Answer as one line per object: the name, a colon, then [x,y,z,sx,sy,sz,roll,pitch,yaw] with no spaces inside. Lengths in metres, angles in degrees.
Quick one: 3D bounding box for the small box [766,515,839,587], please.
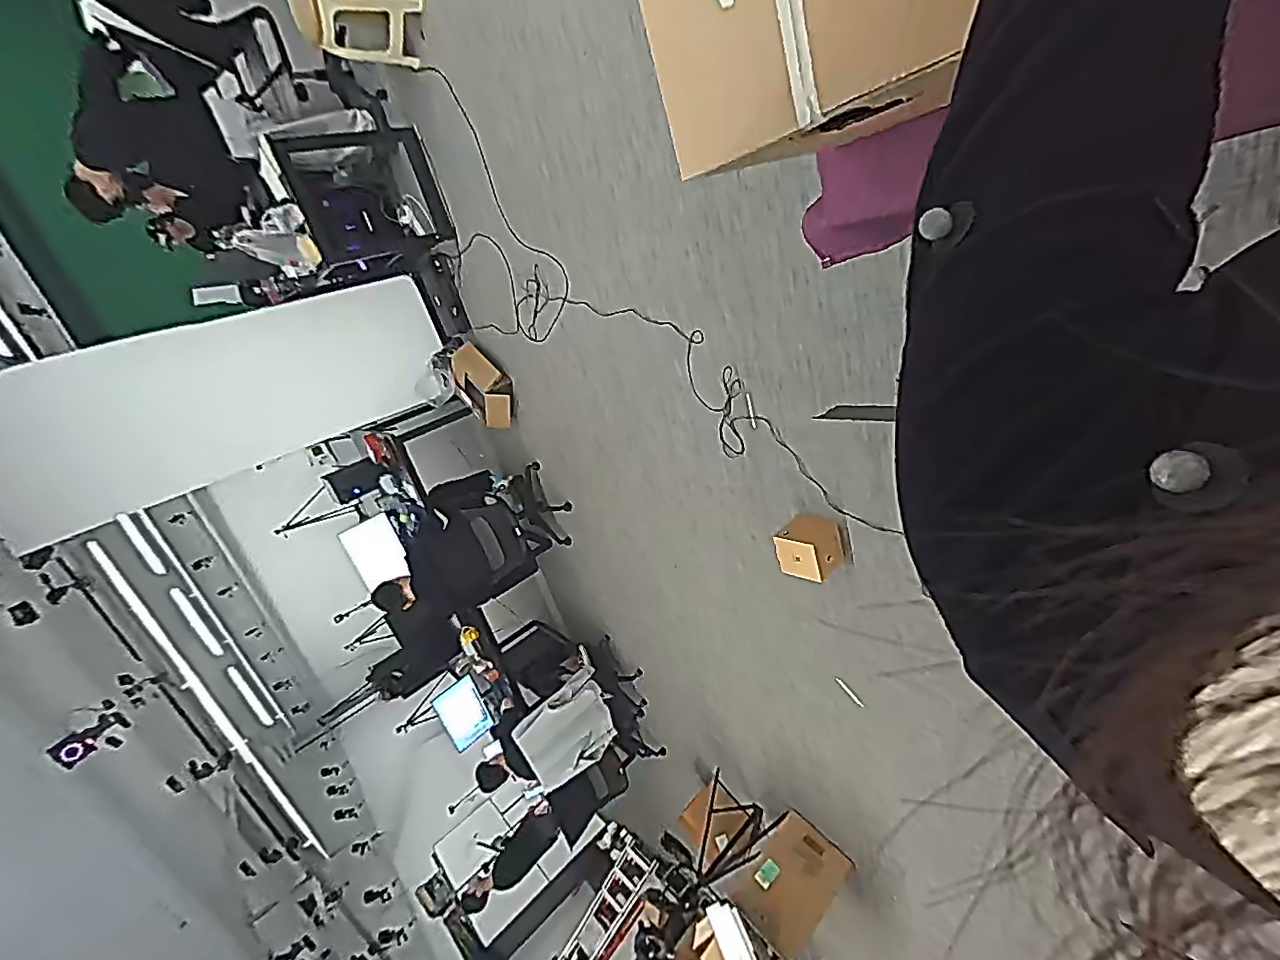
small box: [0.595,0.265,2.007,0.179,0.176,0.168,52,172,-24]
